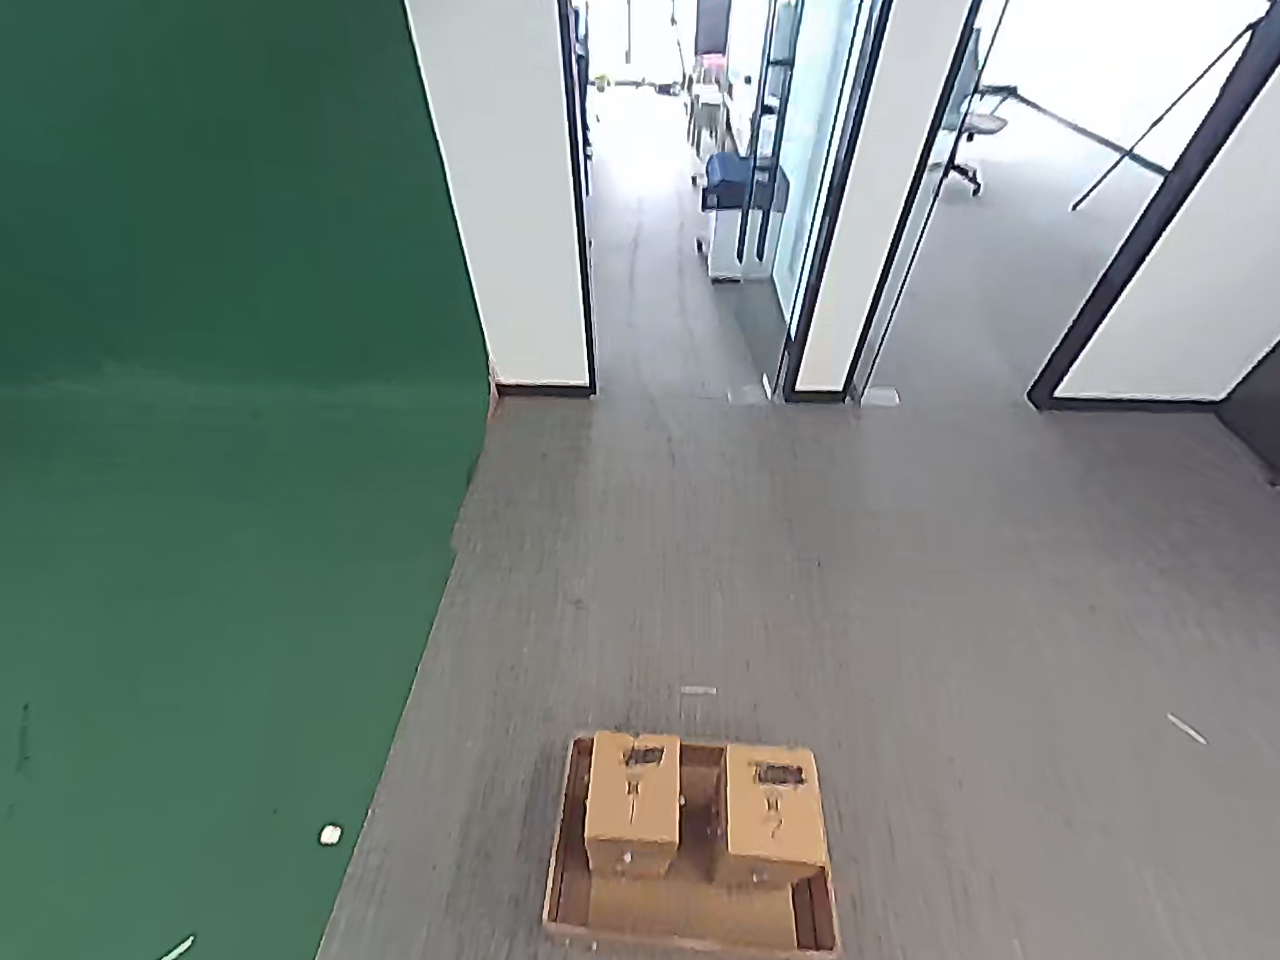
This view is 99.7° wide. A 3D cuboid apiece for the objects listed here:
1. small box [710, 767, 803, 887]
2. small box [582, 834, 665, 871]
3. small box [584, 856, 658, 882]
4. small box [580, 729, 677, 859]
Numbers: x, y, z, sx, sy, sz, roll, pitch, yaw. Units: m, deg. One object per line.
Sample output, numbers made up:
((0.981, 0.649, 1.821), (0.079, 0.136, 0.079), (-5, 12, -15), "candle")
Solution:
((0.236, 0.733, 1.141), (0.168, 0.176, 0.179), (2, 46, 4), "small box")
((-0.027, 0.714, 1.153), (0.168, 0.176, 0.179), (3, 46, 1), "small box")
((-0.034, 0.825, 1.270), (0.168, 0.176, 0.179), (4, 46, 2), "small box")
((-0.019, 0.601, 1.034), (0.168, 0.176, 0.179), (3, 47, 2), "small box")
